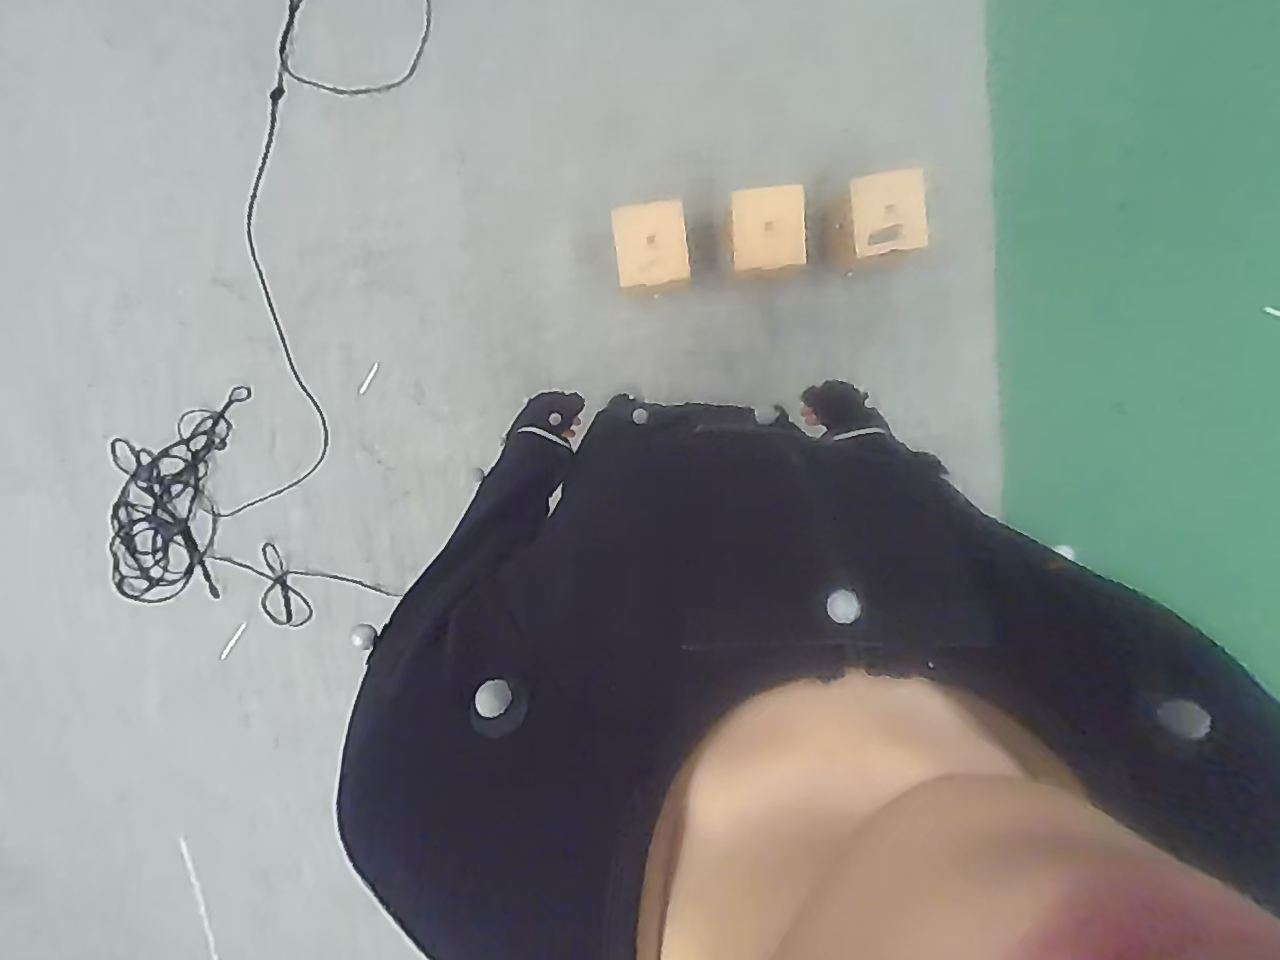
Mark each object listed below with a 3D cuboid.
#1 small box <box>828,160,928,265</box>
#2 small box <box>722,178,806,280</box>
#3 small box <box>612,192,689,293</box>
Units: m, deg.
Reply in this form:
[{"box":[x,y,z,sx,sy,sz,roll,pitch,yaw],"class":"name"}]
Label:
[{"box":[0.560,-0.624,1.287,0.168,0.176,0.179,-8,98,3],"class":"small box"},{"box":[0.293,-0.597,1.300,0.168,0.176,0.179,-4,99,2],"class":"small box"},{"box":[0.026,-0.568,1.311,0.168,0.176,0.179,-6,99,4],"class":"small box"}]
